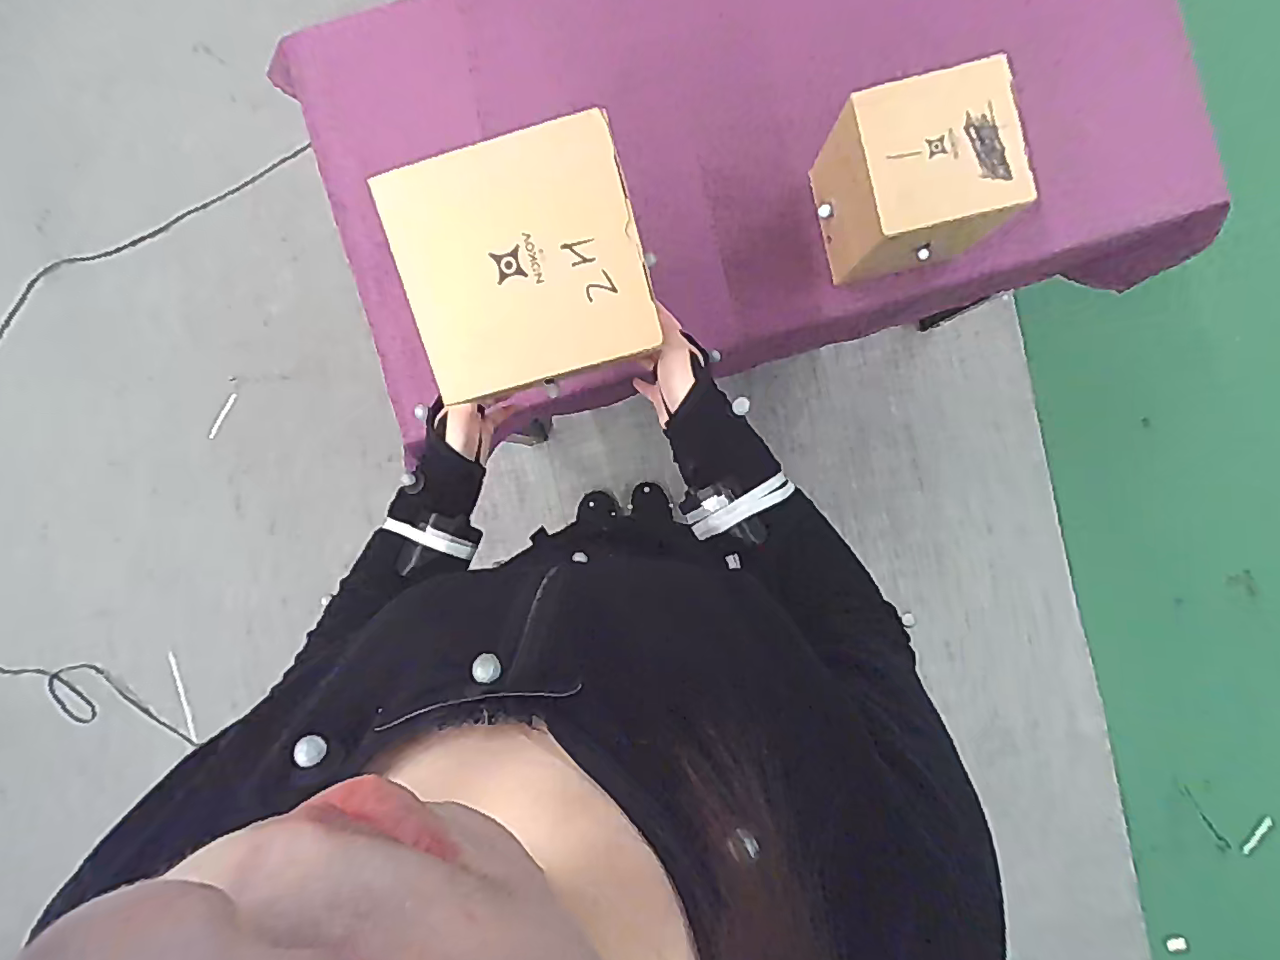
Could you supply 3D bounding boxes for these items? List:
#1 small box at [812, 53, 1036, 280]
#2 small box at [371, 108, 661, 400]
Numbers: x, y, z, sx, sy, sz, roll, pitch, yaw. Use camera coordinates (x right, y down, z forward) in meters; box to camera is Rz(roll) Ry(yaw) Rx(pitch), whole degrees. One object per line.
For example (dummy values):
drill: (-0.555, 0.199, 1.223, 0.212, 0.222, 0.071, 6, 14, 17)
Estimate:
small box: (0.337, -0.371, 0.673, 0.179, 0.176, 0.168, -13, 91, 3)
small box: (-0.085, -0.170, 0.462, 0.179, 0.176, 0.168, -14, 102, 3)
